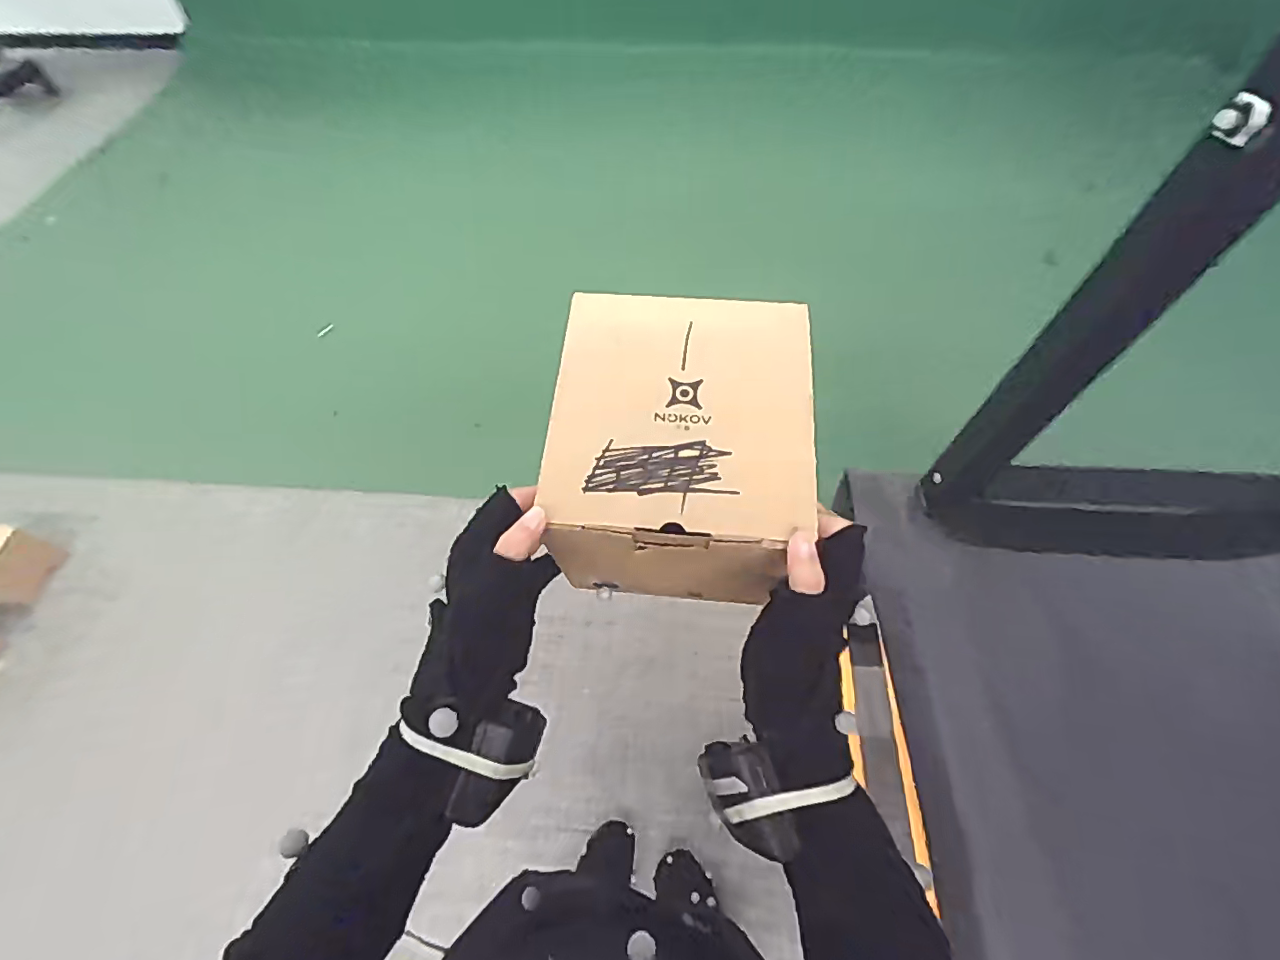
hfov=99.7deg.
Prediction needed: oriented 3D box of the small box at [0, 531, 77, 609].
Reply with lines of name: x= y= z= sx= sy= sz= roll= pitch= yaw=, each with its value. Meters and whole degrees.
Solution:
small box: x=-1.766 y=0.252 z=1.511 sx=0.179 sy=0.176 sz=0.168 roll=4 pitch=57 yaw=4
